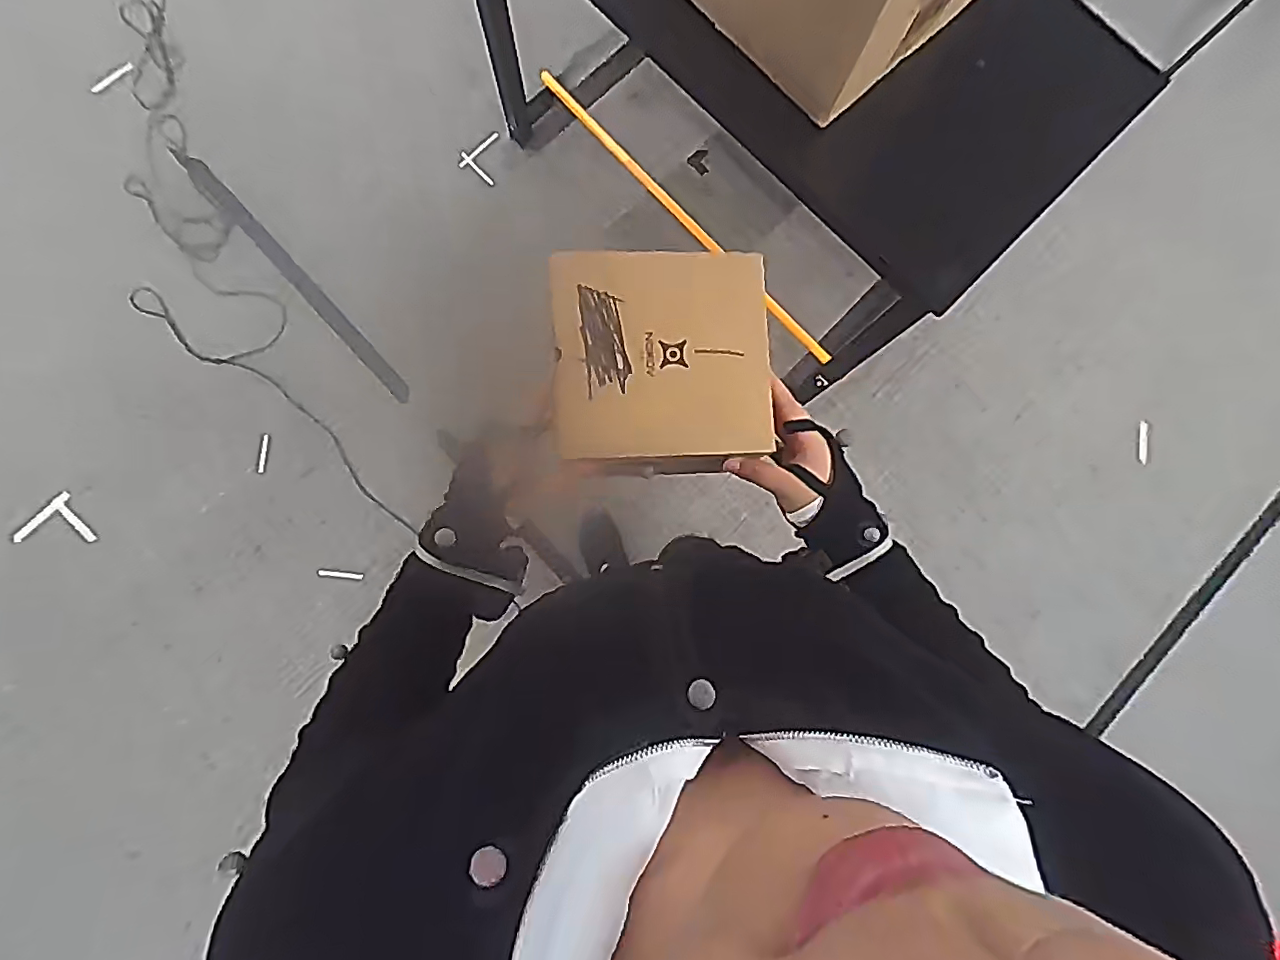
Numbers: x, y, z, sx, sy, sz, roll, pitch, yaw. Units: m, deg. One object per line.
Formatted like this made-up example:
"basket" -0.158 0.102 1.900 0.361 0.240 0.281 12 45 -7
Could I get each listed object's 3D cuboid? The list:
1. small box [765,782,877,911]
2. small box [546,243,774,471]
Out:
"small box" 0.445 0.906 1.358 0.179 0.176 0.168 41 83 3
"small box" 0.010 -0.098 0.500 0.179 0.176 0.168 -2 86 -5
